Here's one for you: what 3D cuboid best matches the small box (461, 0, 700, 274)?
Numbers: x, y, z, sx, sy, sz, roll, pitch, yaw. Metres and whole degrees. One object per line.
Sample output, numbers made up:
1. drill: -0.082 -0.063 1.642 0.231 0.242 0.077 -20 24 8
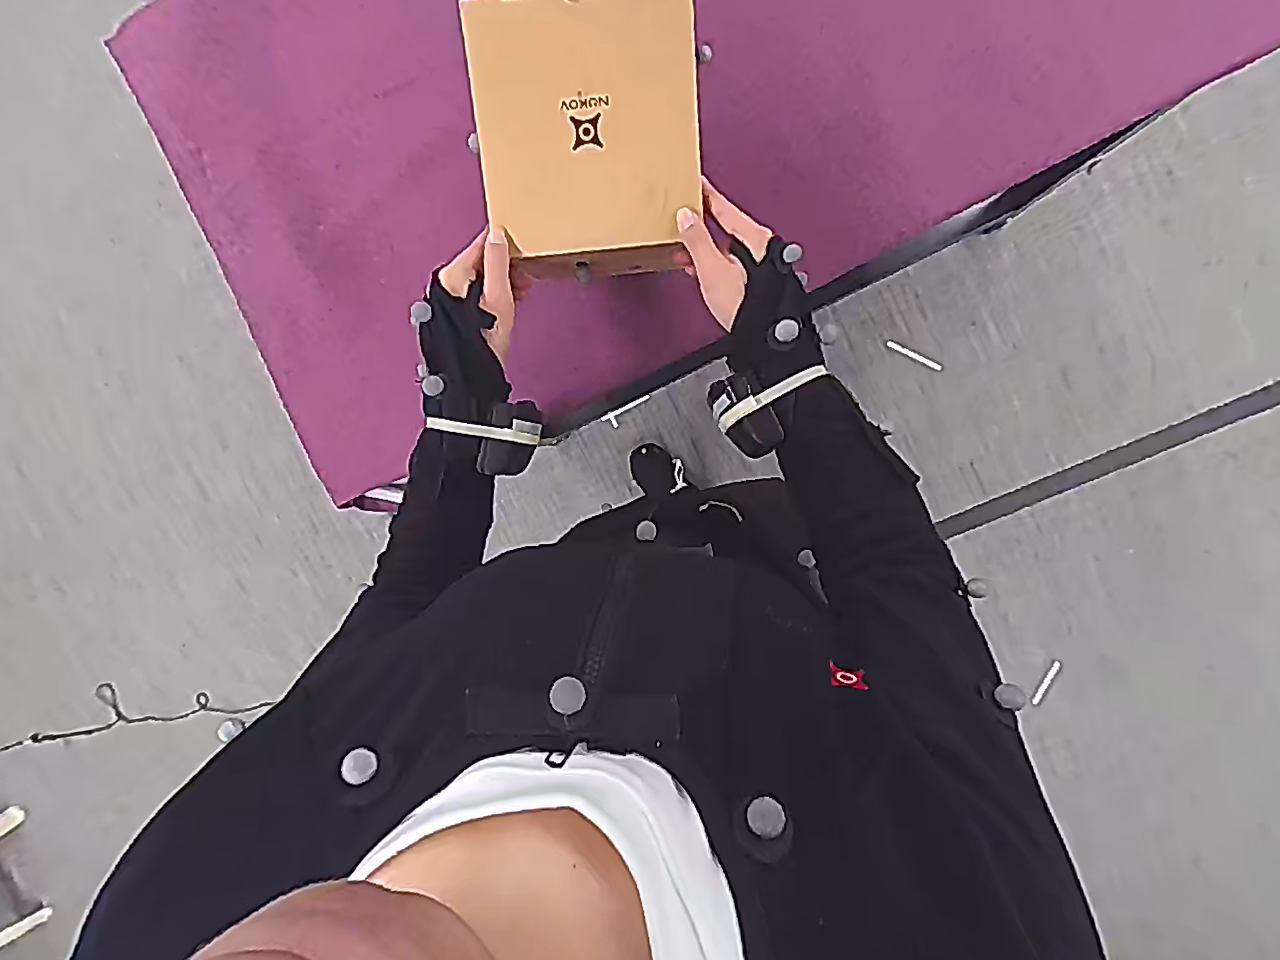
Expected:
1. small box: -0.035 -0.282 0.471 0.168 0.176 0.179 -4 103 4
